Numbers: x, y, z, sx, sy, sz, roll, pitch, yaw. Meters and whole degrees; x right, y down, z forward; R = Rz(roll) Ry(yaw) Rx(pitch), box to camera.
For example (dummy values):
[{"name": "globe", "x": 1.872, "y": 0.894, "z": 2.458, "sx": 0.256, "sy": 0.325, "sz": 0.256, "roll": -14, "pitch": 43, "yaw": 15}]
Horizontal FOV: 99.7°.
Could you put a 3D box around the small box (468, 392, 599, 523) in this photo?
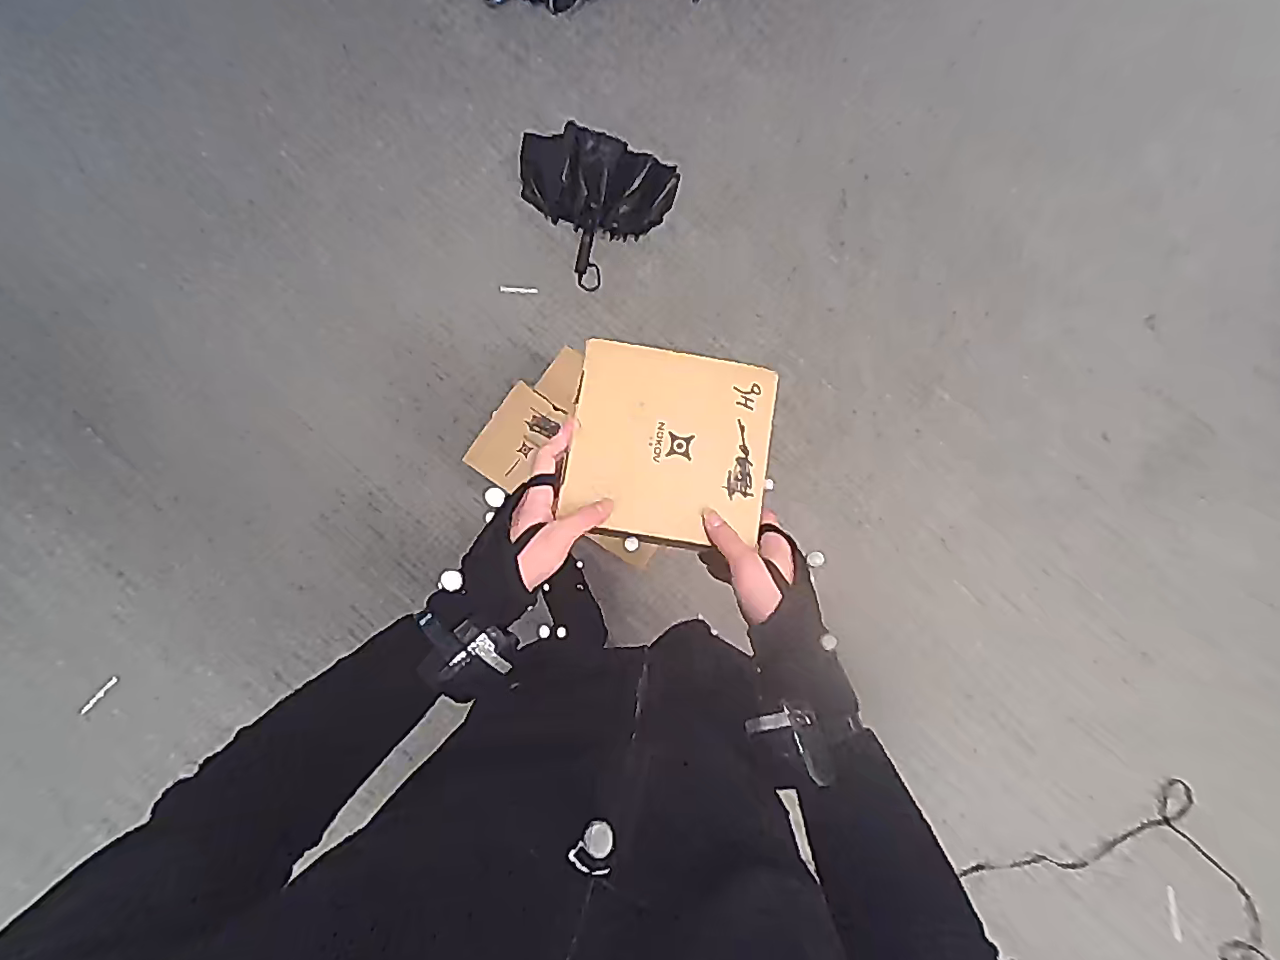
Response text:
[{"name": "small box", "x": -0.194, "y": -0.037, "z": 1.031, "sx": 0.168, "sy": 0.176, "sz": 0.179, "roll": 35, "pitch": 87, "yaw": 0}]
